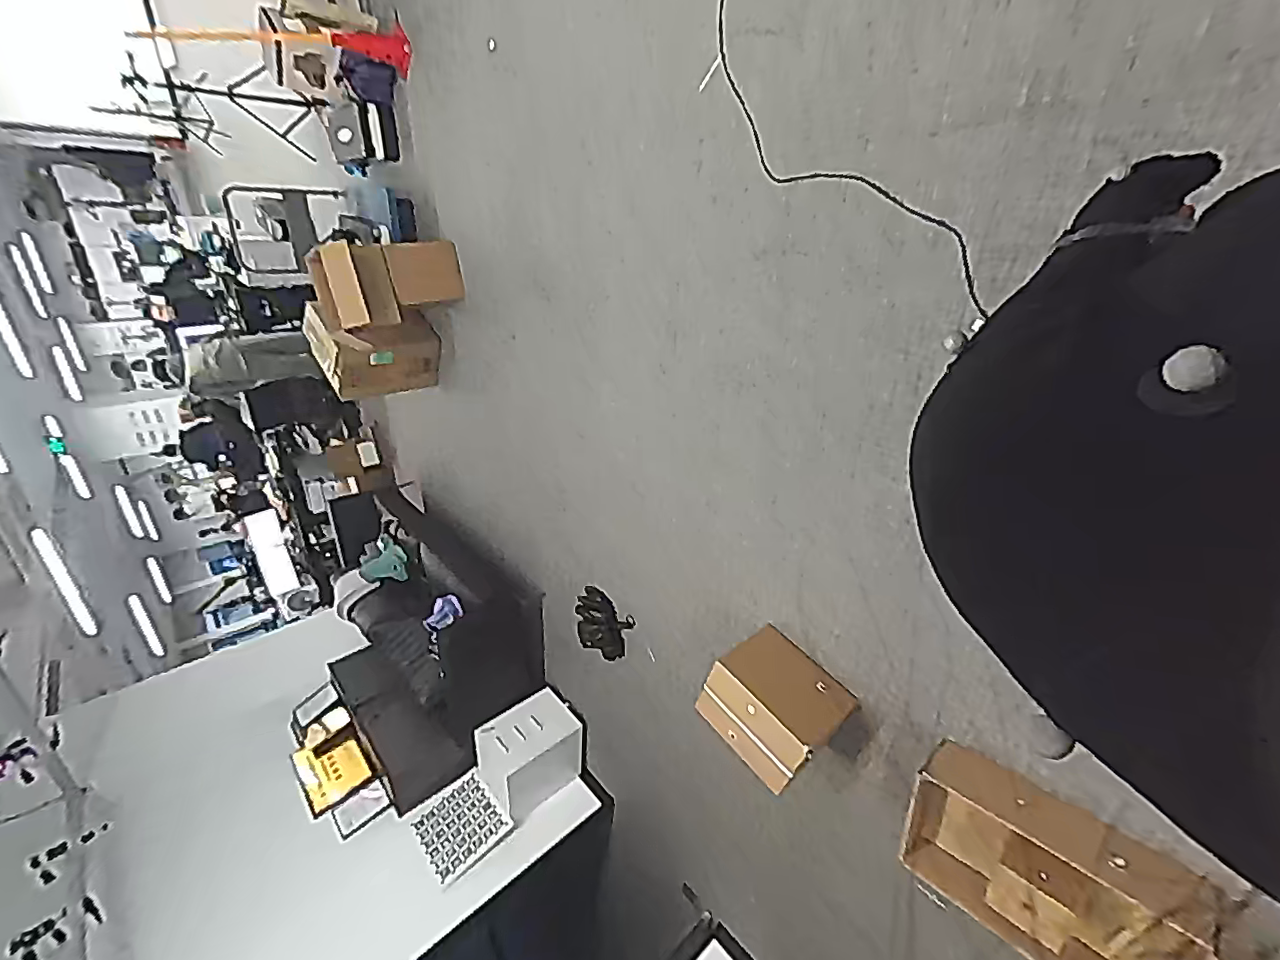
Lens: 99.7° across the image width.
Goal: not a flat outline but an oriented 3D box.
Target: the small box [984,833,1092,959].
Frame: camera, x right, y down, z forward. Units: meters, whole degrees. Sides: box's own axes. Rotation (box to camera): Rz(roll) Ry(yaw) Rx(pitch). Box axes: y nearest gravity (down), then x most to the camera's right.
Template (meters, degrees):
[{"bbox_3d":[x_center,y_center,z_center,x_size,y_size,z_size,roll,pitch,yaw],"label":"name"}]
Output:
[{"bbox_3d":[1.051,1.091,1.427,0.179,0.176,0.168,23,122,45],"label":"small box"}]
